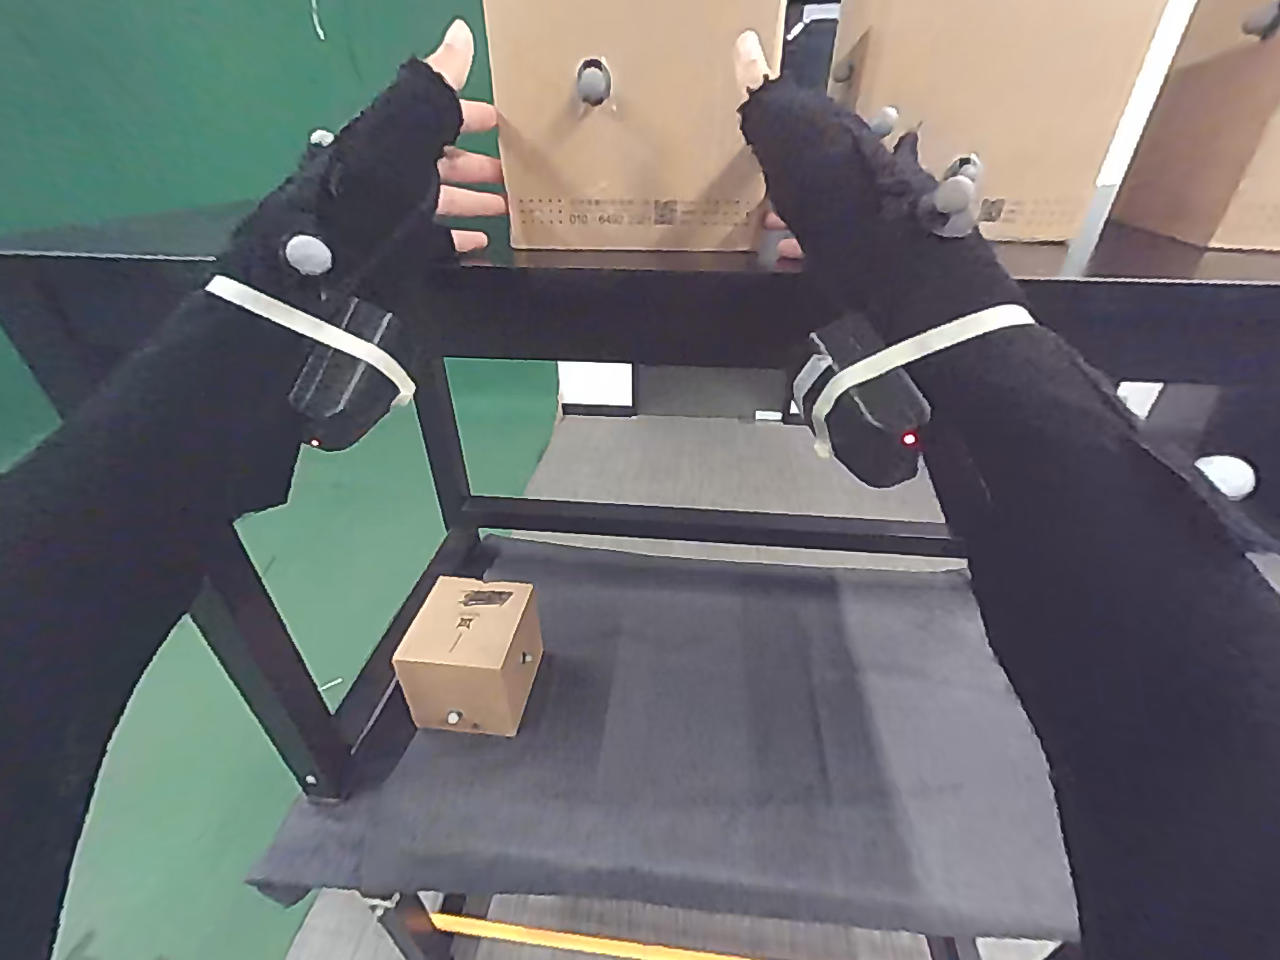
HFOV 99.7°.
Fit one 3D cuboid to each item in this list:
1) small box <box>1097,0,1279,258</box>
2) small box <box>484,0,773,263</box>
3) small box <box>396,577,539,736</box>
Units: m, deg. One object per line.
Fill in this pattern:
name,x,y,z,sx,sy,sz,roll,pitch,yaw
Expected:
small box,0.476,-0.253,0.378,0.168,0.176,0.179,10,33,15
small box,0.001,-0.262,0.398,0.168,0.176,0.179,2,32,3
small box,-0.269,0.287,0.891,0.168,0.176,0.179,3,33,5
